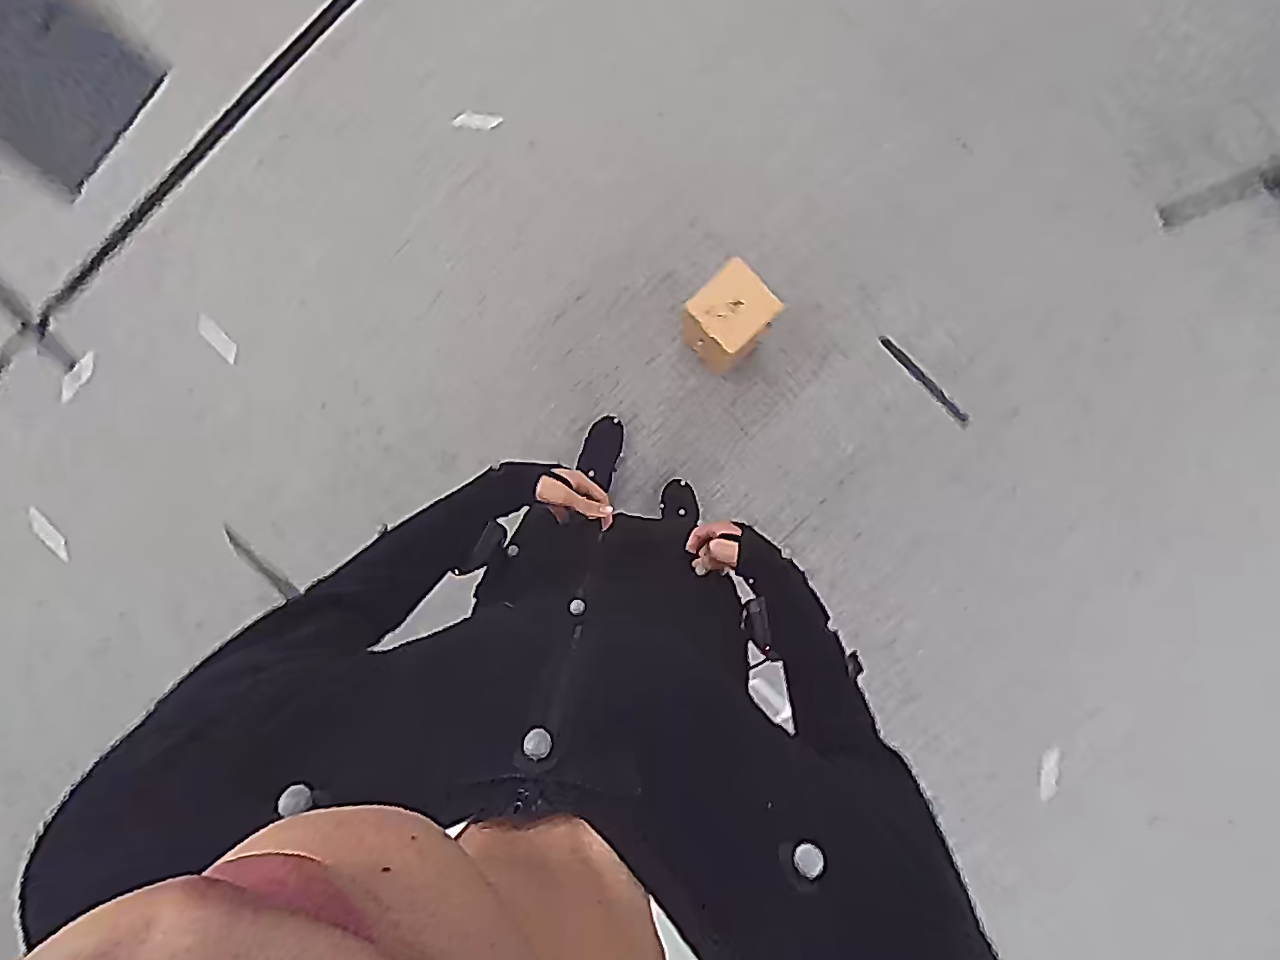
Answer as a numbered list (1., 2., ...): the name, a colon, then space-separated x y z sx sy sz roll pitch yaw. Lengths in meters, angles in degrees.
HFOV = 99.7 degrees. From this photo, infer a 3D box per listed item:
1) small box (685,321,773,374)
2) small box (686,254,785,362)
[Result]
1. small box: 0.240 -0.424 1.519 0.179 0.176 0.168 -41 90 2
2. small box: 0.229 -0.422 1.355 0.179 0.176 0.168 -41 90 3
